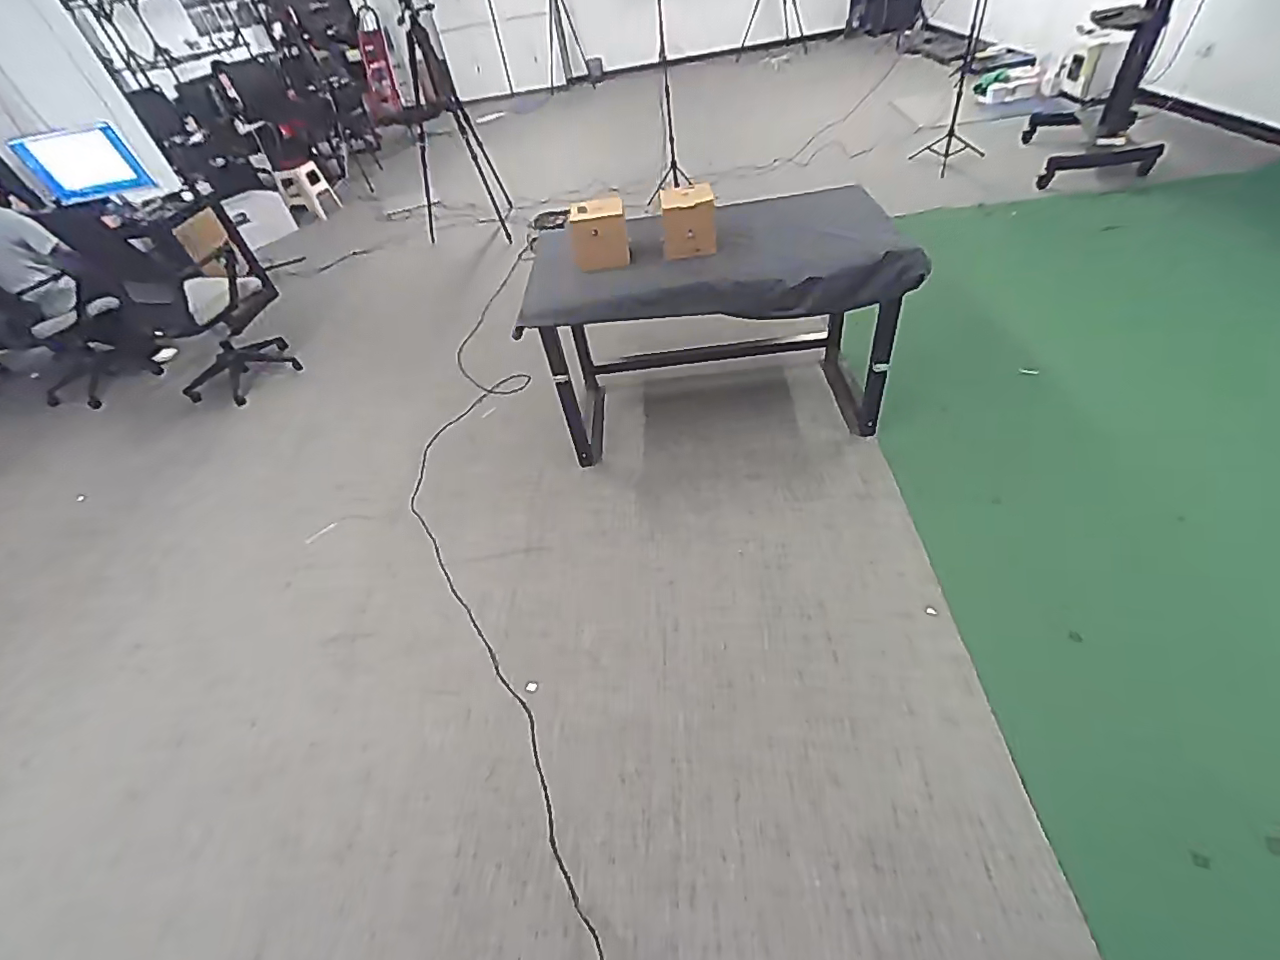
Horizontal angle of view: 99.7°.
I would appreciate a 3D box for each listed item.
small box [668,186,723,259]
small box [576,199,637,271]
[{"bbox_3d":[0.183,-0.842,1.786,0.168,0.176,0.179,-5,45,6],"label":"small box"},{"bbox_3d":[-0.108,-0.818,1.817,0.179,0.176,0.168,-6,44,4],"label":"small box"}]
